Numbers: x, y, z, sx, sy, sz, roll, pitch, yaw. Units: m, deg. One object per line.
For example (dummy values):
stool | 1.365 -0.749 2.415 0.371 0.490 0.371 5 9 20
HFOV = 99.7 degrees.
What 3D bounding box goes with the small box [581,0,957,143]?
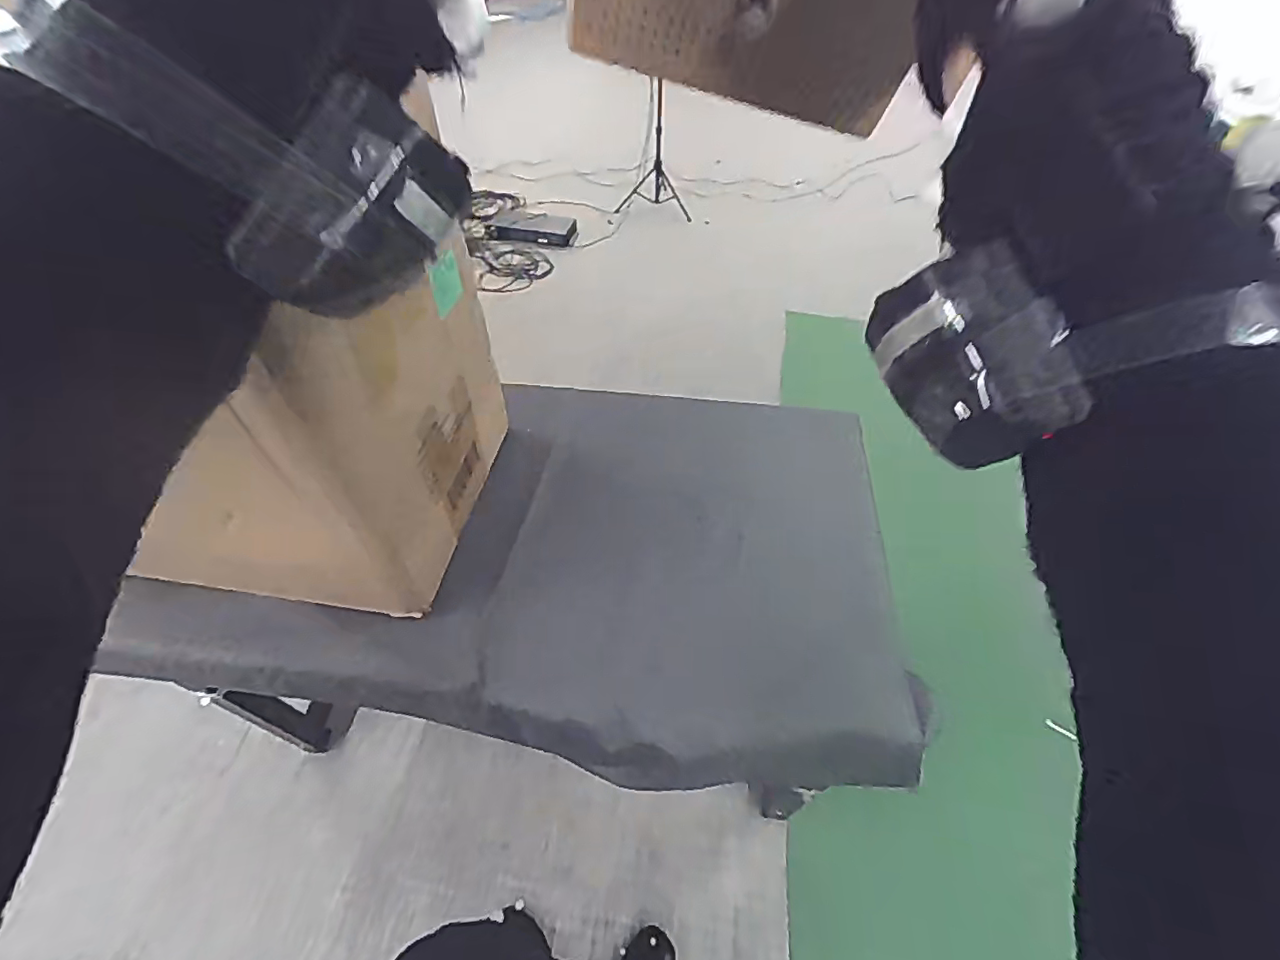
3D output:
small box | 0.077 -0.310 0.272 0.179 0.176 0.168 11 60 -10
